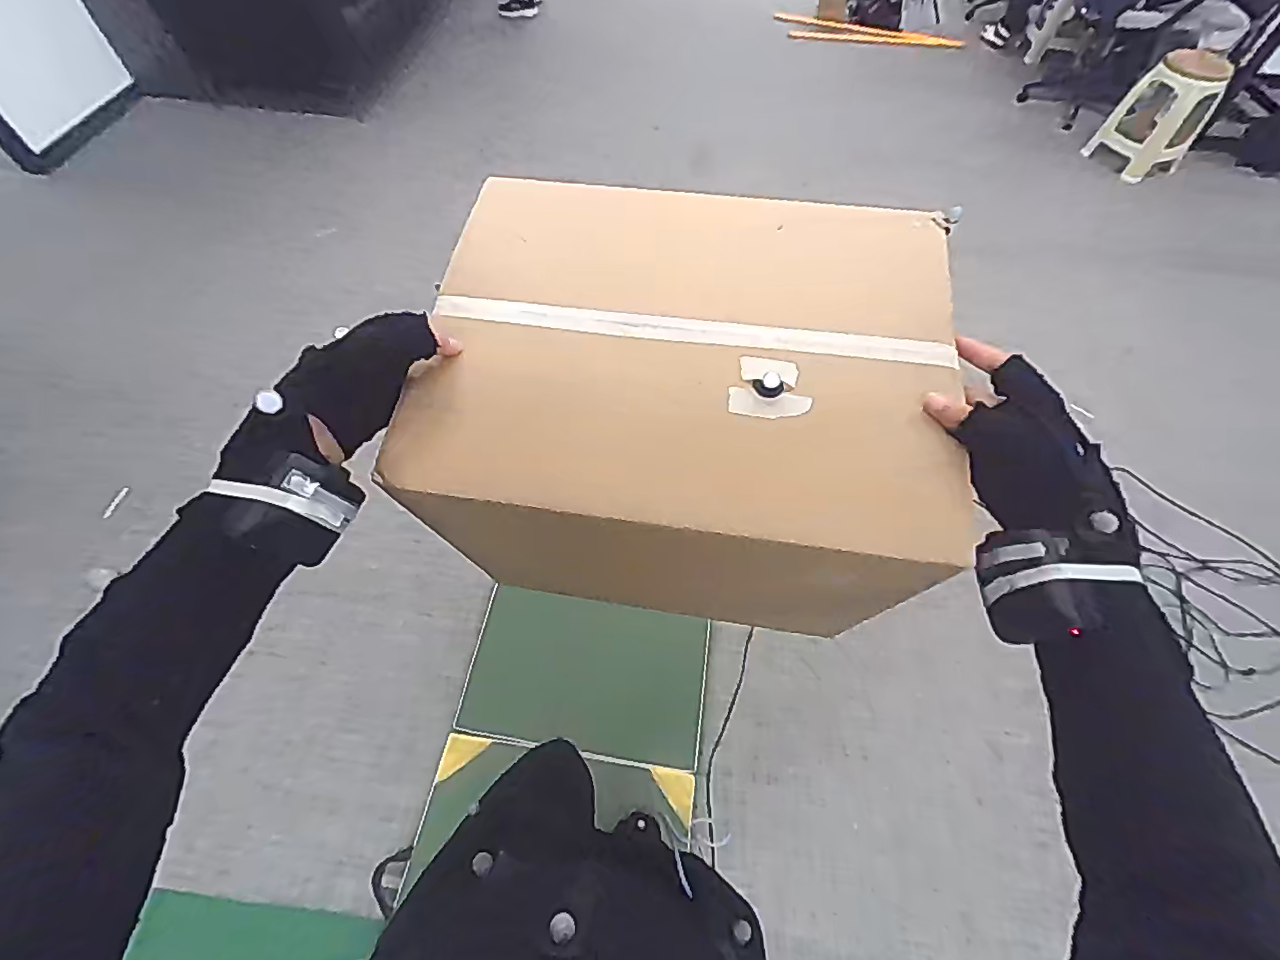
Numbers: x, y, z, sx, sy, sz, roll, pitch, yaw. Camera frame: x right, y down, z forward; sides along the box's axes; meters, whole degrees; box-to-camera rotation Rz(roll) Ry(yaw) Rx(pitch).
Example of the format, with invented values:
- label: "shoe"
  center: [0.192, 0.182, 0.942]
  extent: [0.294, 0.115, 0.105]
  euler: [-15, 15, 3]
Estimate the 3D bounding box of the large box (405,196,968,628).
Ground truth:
- label: "large box"
  center: [0.047, -0.048, 0.570]
  extent: [0.408, 0.320, 0.320]
  euler: [8, 67, 5]
